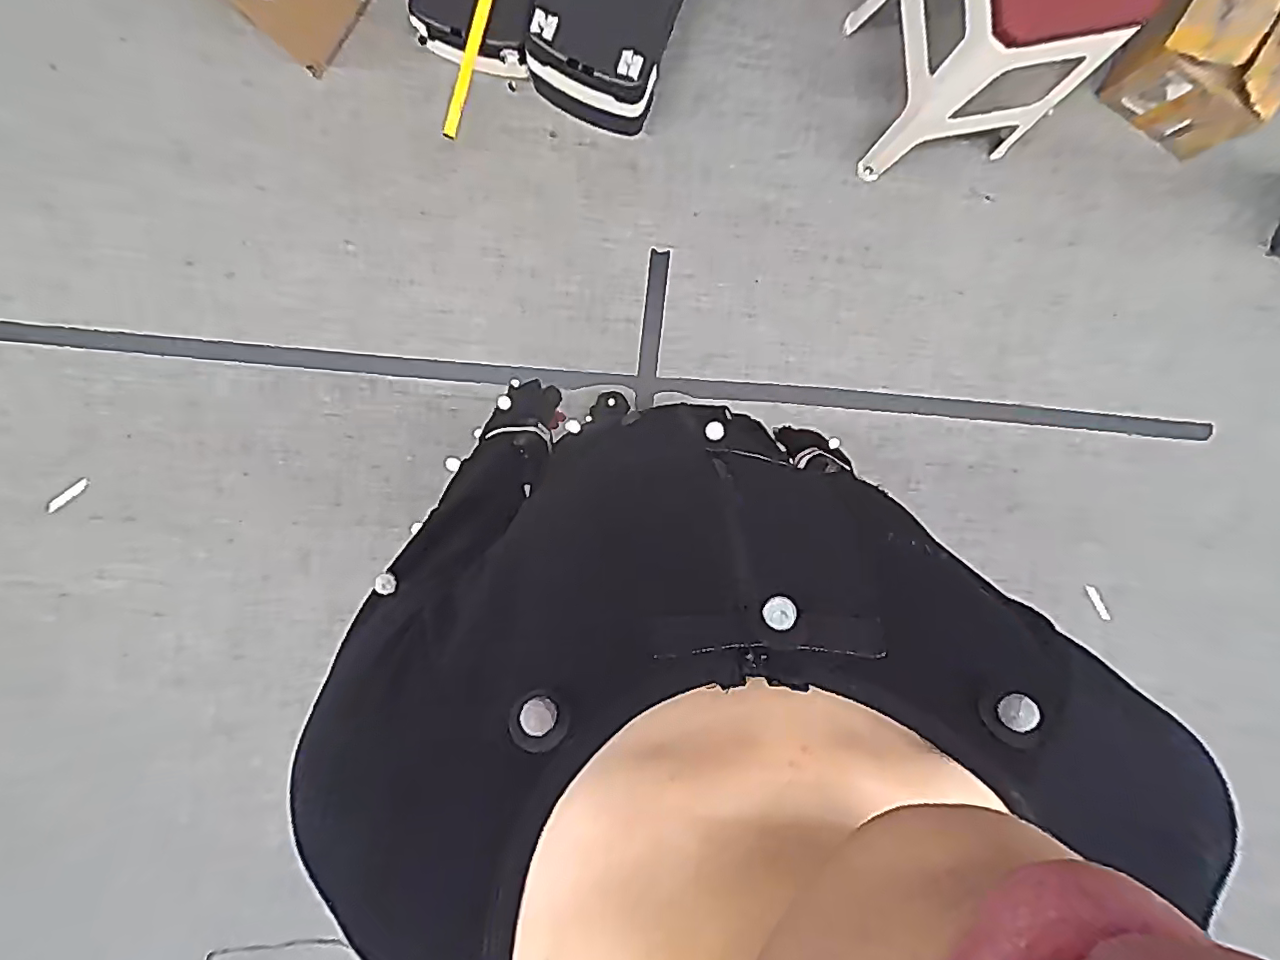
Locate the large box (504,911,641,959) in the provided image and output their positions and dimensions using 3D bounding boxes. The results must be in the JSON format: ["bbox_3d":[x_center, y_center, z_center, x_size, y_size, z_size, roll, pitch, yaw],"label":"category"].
[{"bbox_3d":[-0.204,1.537,1.581,0.408,0.320,0.320,5,99,-2],"label":"large box"}]
